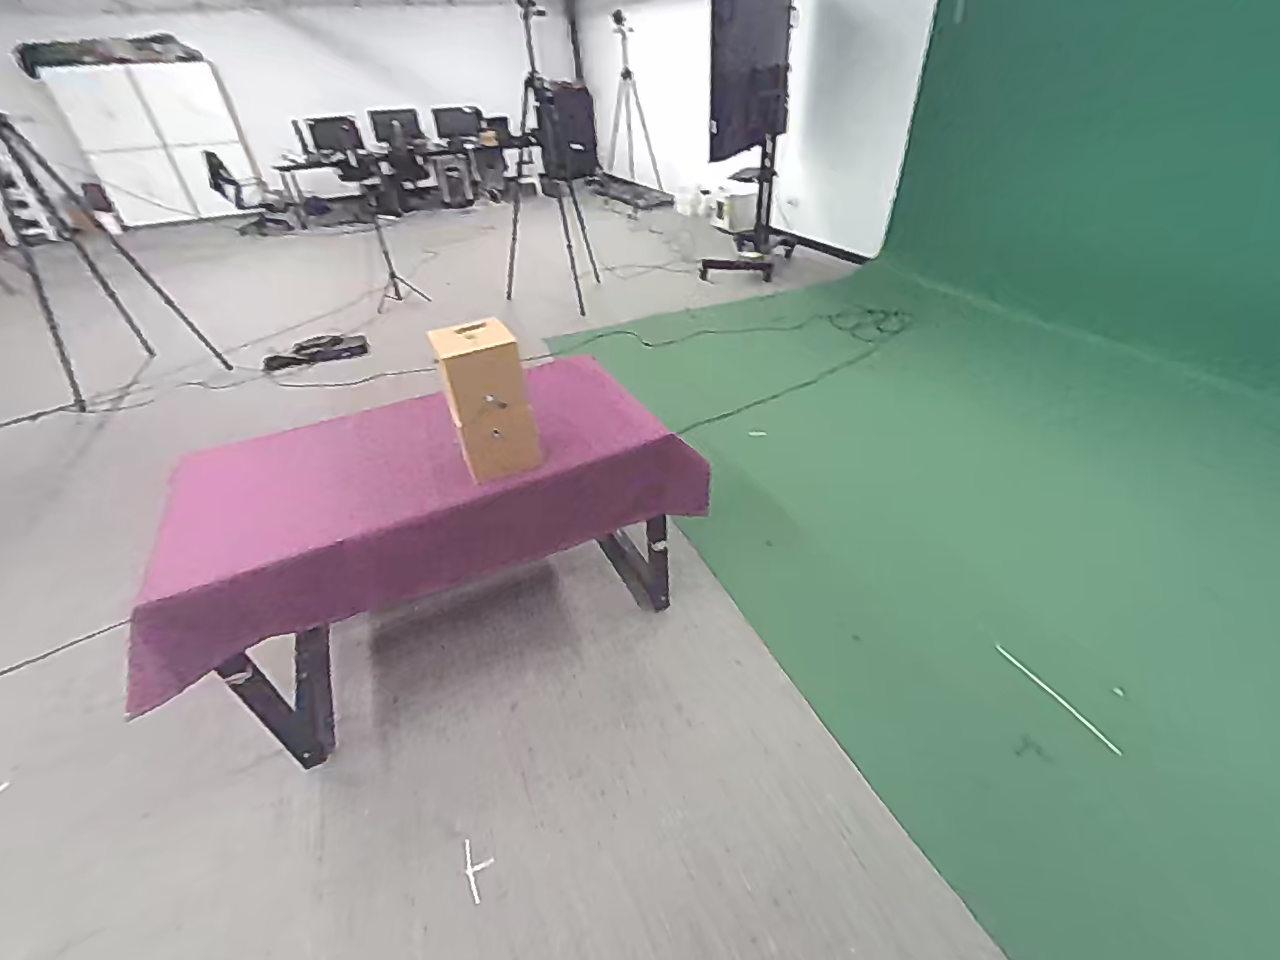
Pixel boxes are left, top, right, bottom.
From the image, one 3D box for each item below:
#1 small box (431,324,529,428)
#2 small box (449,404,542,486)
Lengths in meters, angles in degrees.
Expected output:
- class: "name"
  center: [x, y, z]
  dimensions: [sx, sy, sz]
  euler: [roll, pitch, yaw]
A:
- class: "small box"
  center: [-0.372, -0.244, 1.264]
  dimensions: [0.168, 0.176, 0.179]
  euler: [-20, 40, -20]
- class: "small box"
  center: [-0.359, -0.108, 1.356]
  dimensions: [0.179, 0.176, 0.168]
  euler: [-17, 39, -18]
